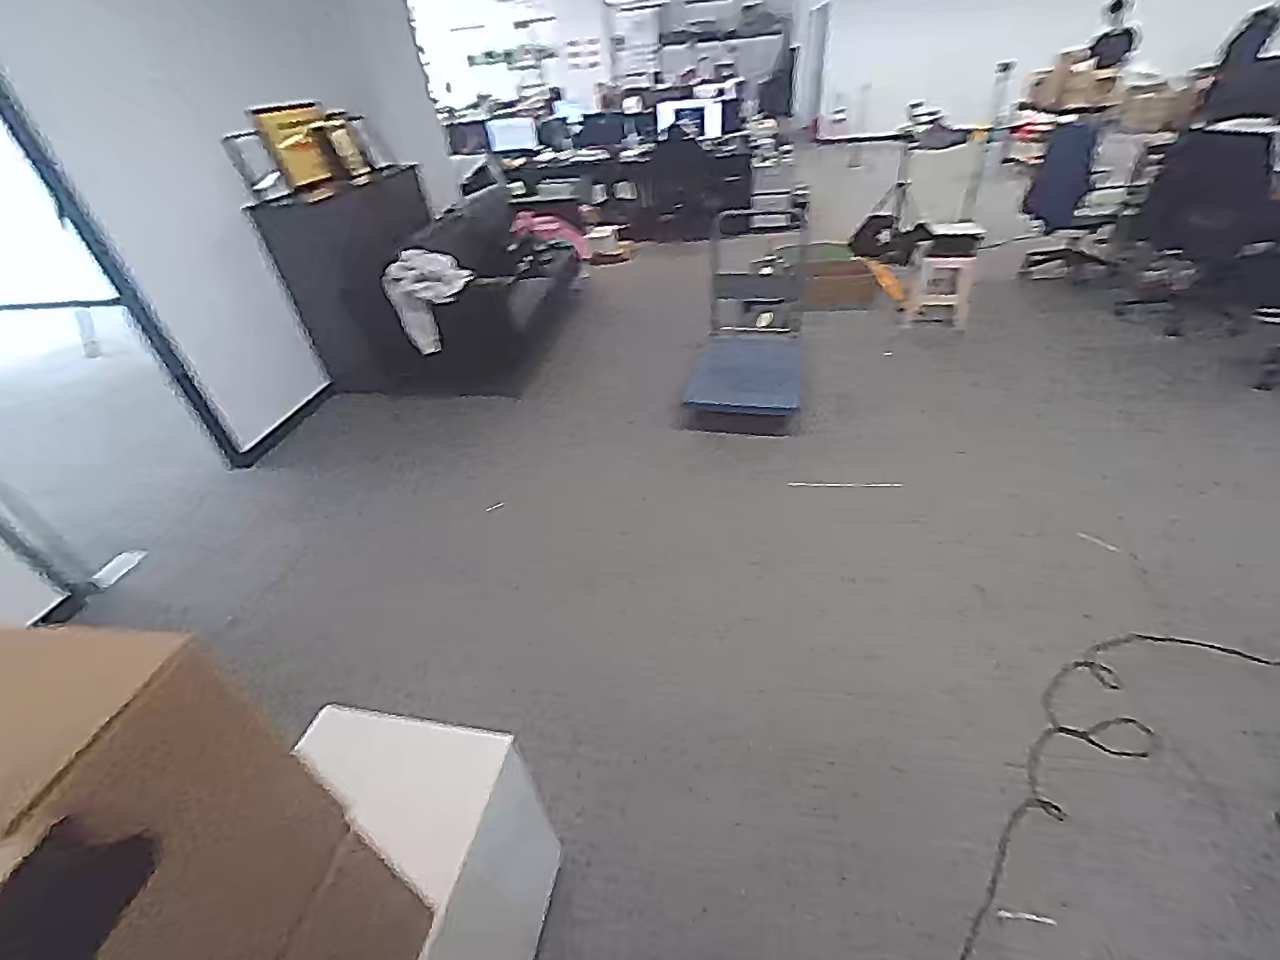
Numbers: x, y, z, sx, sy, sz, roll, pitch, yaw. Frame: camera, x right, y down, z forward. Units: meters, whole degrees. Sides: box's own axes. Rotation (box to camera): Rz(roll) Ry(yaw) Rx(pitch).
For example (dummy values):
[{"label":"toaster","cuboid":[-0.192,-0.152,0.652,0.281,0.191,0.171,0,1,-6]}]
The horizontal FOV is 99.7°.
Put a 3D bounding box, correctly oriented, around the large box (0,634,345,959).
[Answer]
[{"label":"large box","cuboid":[-0.543,0.337,0.419,0.408,0.320,0.320,0,37,9]}]
